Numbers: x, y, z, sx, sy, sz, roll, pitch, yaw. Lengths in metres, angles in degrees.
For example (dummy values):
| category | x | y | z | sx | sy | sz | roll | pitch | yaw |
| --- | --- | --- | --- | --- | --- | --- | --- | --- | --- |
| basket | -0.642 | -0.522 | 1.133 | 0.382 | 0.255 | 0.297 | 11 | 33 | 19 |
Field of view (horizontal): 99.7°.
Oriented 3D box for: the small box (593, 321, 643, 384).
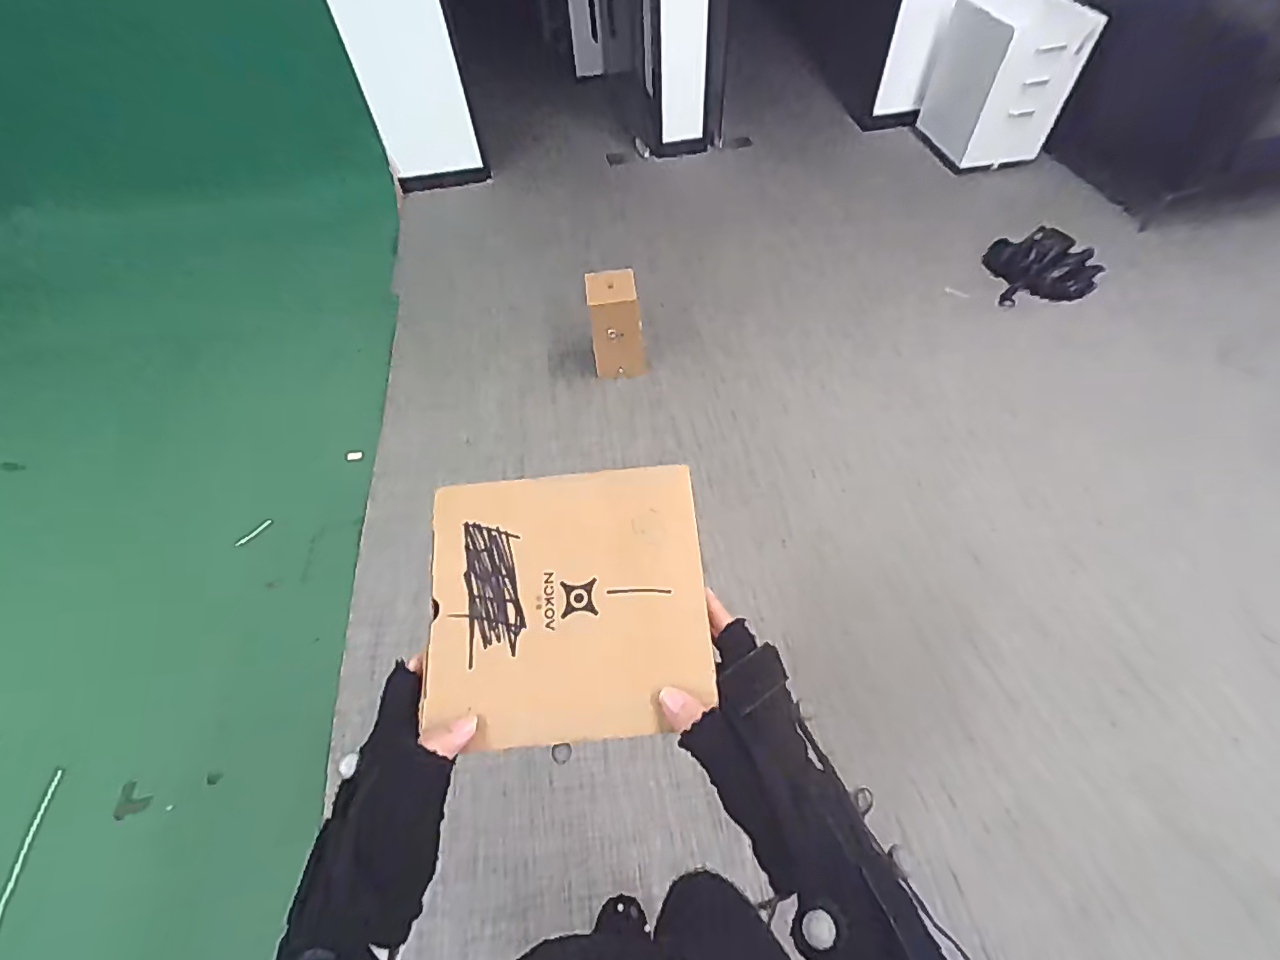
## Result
| category | x | y | z | sx | sy | sz | roll | pitch | yaw |
| --- | --- | --- | --- | --- | --- | --- | --- | --- | --- |
| small box | -0.080 | -0.476 | 2.013 | 0.179 | 0.176 | 0.168 | -6 | 53 | -1 |

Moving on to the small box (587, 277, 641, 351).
| category | x | y | z | sx | sy | sz | roll | pitch | yaw |
| --- | --- | --- | --- | --- | --- | --- | --- | --- | --- |
| small box | -0.091 | -0.577 | 1.885 | 0.168 | 0.176 | 0.179 | -8 | 55 | 0 |

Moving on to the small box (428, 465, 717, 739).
| category | x | y | z | sx | sy | sz | roll | pitch | yaw |
| --- | --- | --- | --- | --- | --- | --- | --- | --- | --- |
| small box | -0.042 | 0.102 | 0.421 | 0.179 | 0.176 | 0.168 | -6 | 68 | 0 |
